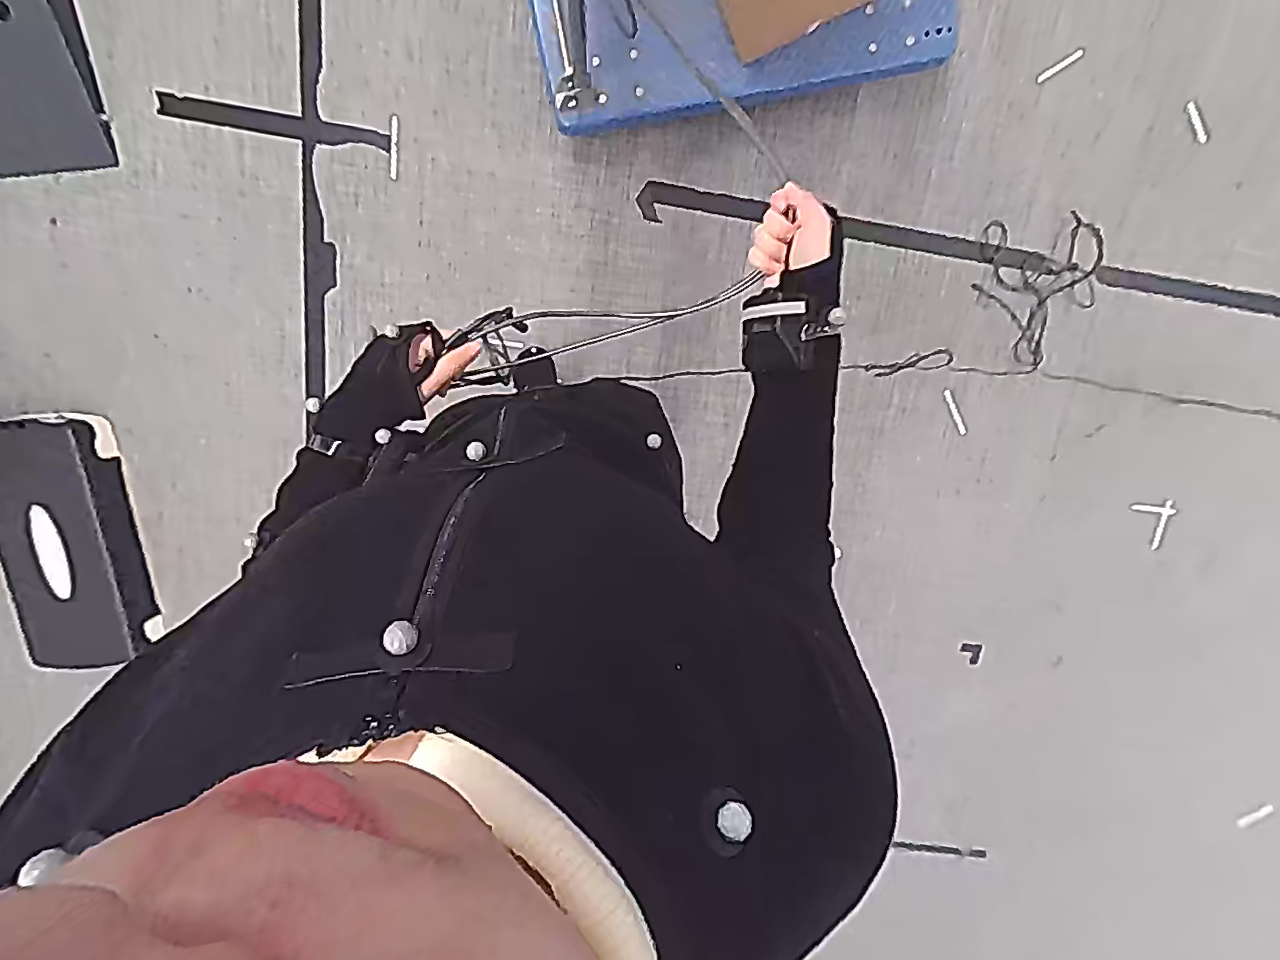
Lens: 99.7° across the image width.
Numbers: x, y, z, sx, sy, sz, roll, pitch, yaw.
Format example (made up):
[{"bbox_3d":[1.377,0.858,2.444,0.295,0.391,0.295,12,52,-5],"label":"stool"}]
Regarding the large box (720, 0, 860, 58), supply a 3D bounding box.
[{"bbox_3d":[0.270,-1.071,0.924,0.320,0.320,0.408,-25,104,4],"label":"large box"}]
